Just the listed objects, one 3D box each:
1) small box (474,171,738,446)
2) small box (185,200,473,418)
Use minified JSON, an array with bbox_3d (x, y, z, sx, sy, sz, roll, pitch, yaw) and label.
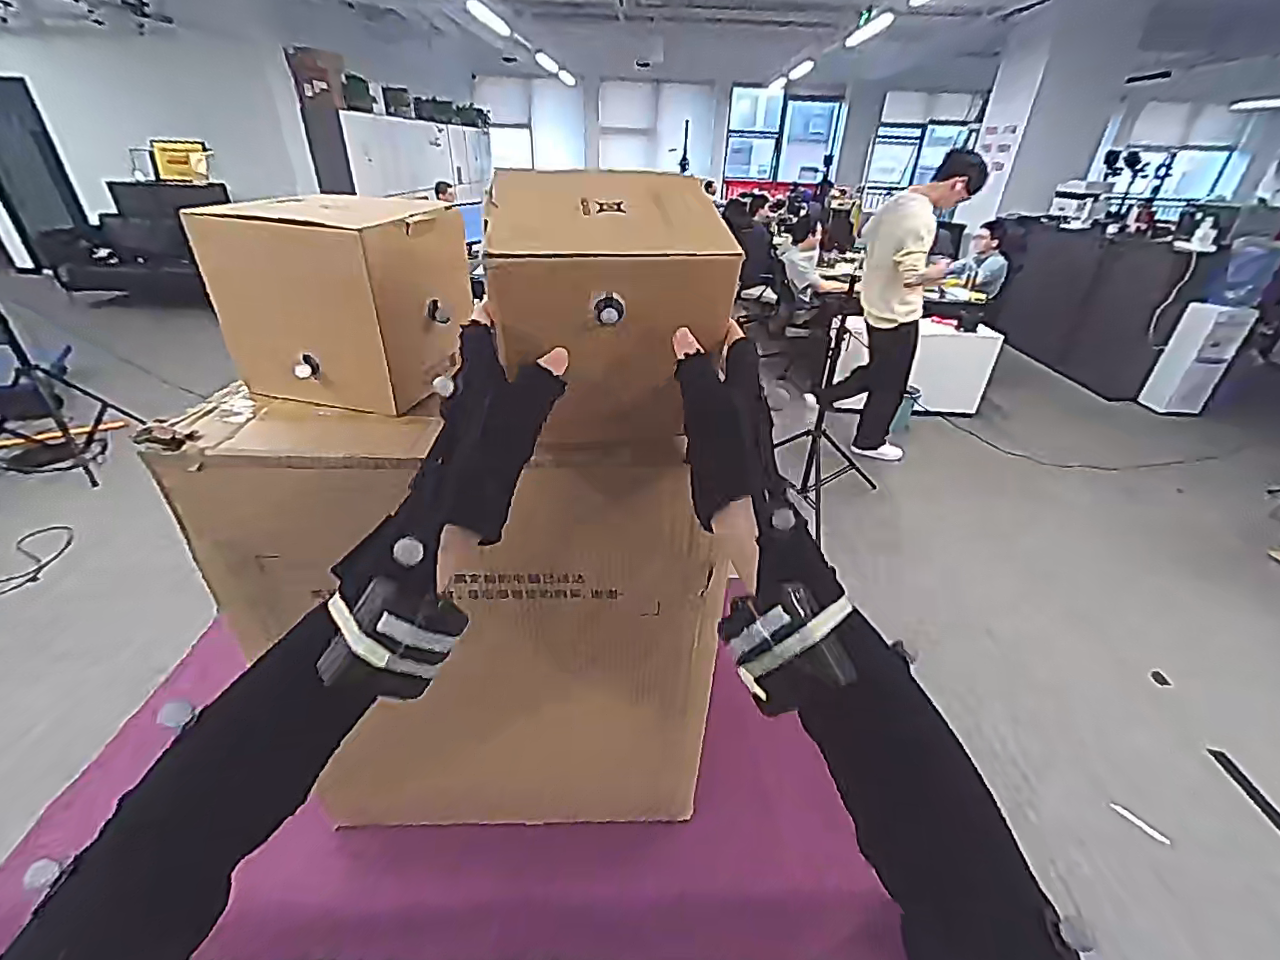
[{"bbox_3d":[-0.034,-0.142,0.460,0.179,0.176,0.168,-3,48,-9],"label":"small box"},{"bbox_3d":[-0.289,-0.177,0.553,0.179,0.176,0.168,10,33,10],"label":"small box"}]
